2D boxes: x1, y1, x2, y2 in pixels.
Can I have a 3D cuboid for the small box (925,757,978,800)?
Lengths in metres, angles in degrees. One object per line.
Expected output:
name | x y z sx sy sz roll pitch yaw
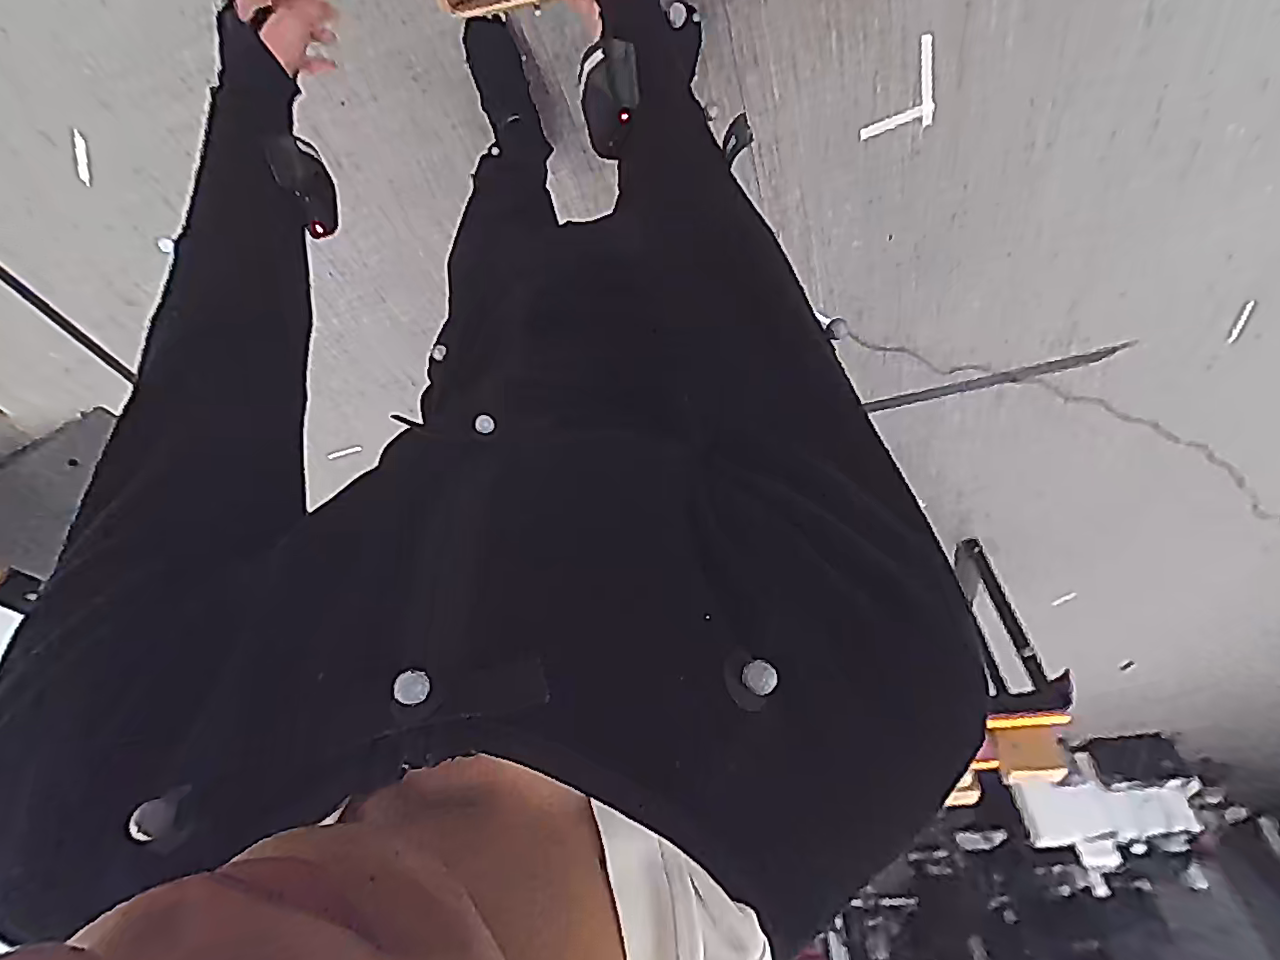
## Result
small box | 1.244 1.185 2.200 0.168 0.176 0.179 -12 134 14

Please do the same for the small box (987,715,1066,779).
small box | 1.388 0.966 1.957 0.179 0.176 0.168 -11 137 16
